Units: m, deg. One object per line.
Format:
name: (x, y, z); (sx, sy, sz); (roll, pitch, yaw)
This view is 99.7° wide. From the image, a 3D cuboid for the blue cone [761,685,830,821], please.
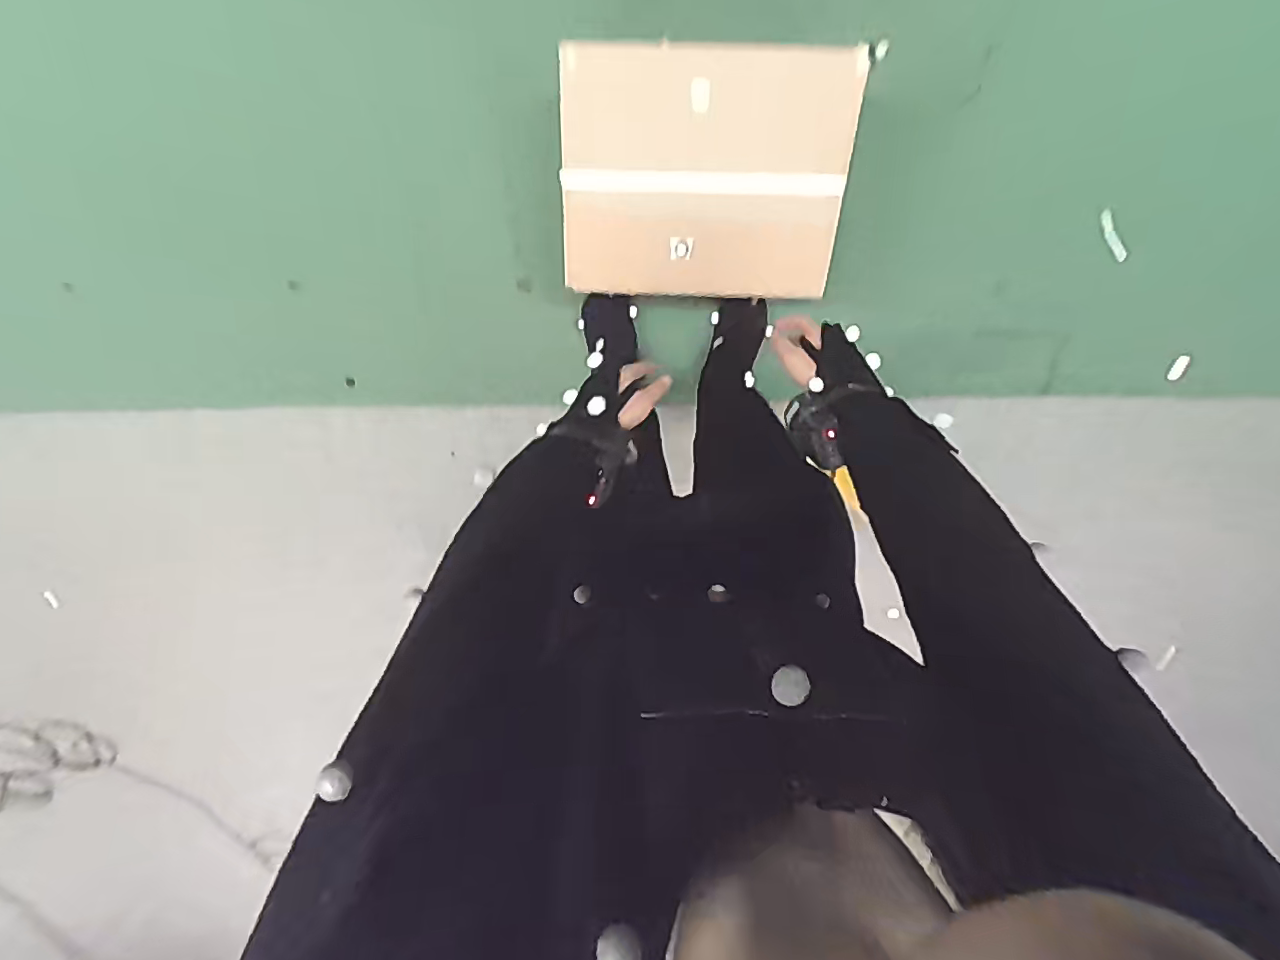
blue cone: (0.488, 0.815, 1.615); (0.192, 0.380, 0.193); (0, 120, 2)
